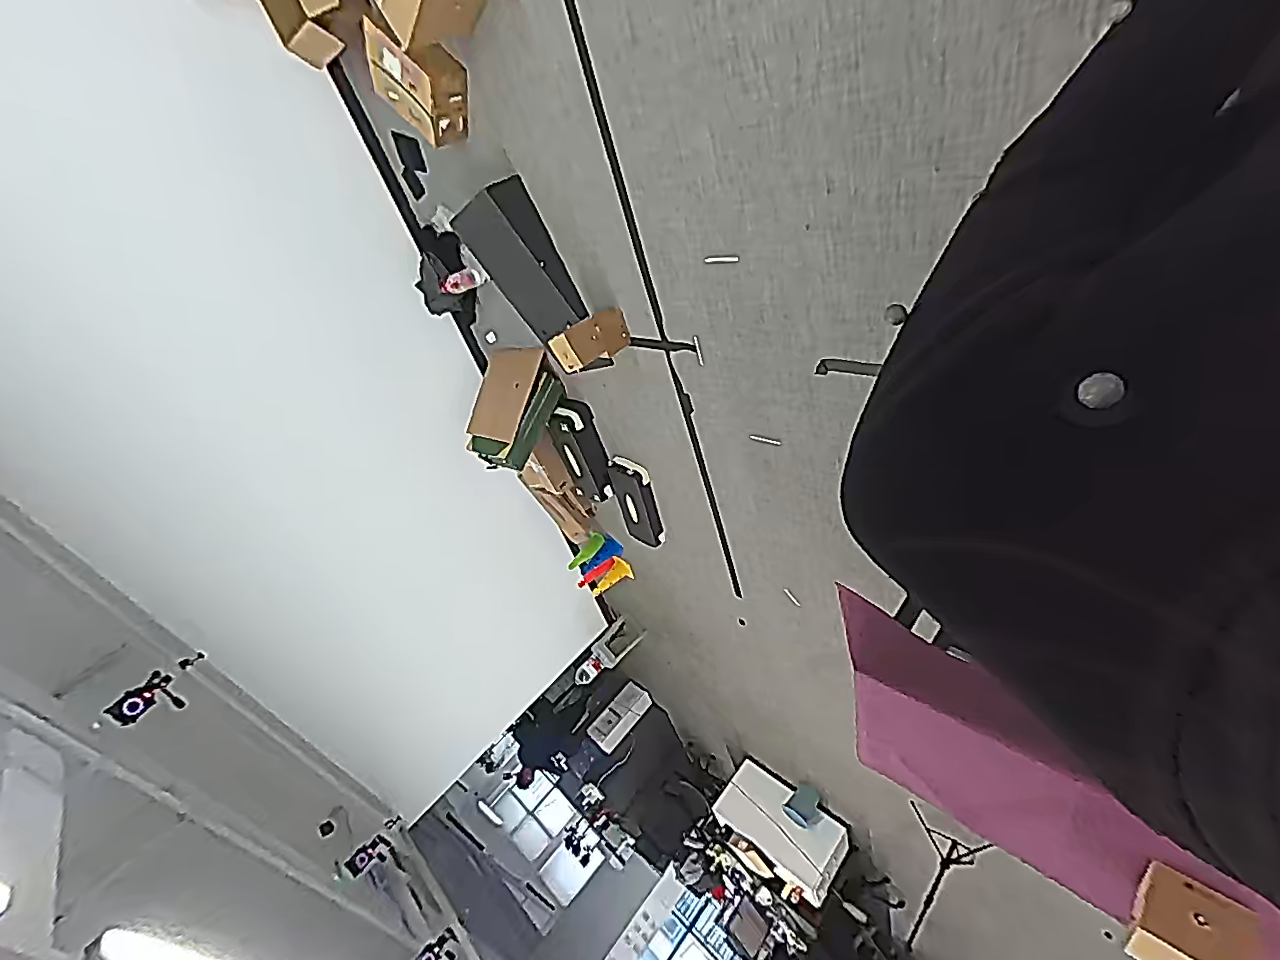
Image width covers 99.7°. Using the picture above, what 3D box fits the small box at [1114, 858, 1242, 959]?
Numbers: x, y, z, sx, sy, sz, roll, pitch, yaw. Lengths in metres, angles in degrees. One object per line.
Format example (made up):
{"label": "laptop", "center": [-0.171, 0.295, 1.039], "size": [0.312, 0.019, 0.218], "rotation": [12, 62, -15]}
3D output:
{"label": "small box", "center": [1.213, 1.007, 1.221], "size": [0.168, 0.176, 0.179], "rotation": [19, 140, 44]}
